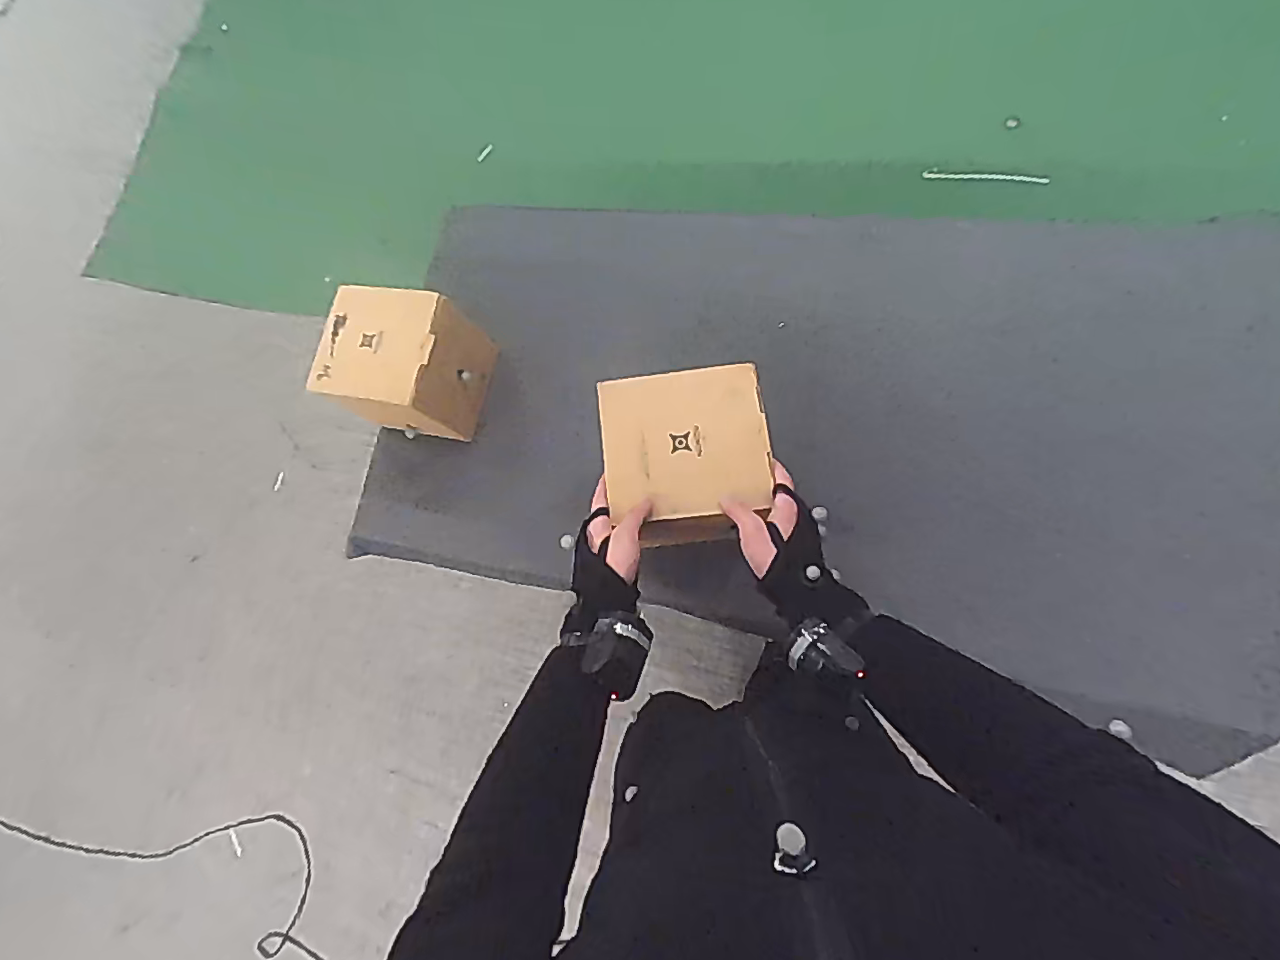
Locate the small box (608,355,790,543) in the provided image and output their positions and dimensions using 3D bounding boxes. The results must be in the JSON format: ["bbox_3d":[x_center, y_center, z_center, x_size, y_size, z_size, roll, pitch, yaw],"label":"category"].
[{"bbox_3d":[0.063,-0.026,0.637,0.179,0.176,0.168,-7,72,4],"label":"small box"}]

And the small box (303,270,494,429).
[{"bbox_3d":[-0.344,-0.185,0.807,0.179,0.176,0.168,11,79,13],"label":"small box"}]
